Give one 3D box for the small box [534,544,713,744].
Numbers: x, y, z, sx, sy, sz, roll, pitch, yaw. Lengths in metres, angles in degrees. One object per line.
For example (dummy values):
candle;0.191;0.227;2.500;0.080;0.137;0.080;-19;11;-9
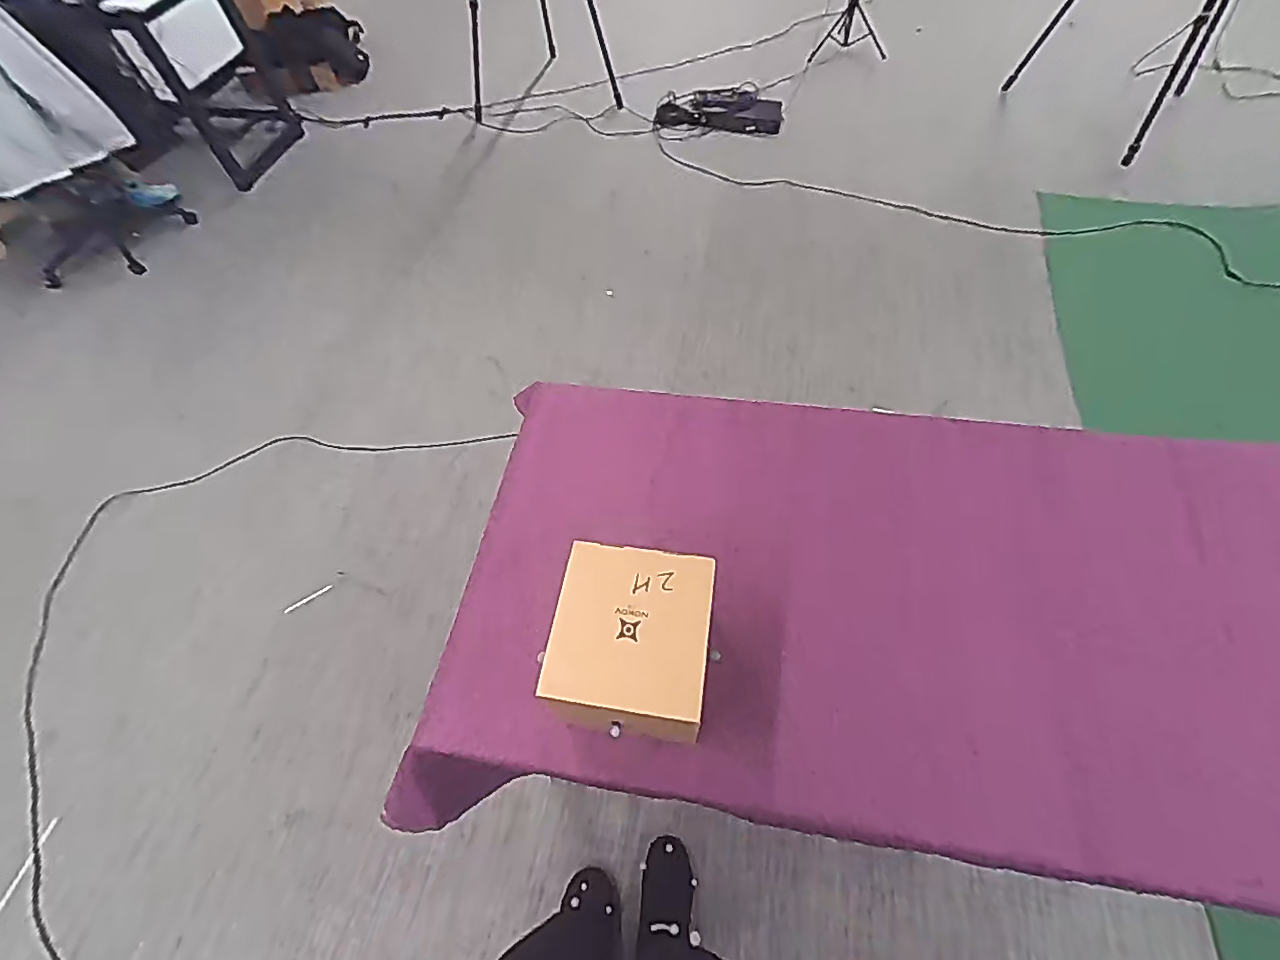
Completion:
small box;-0.007;0.198;0.637;0.168;0.176;0.179;7;58;8
